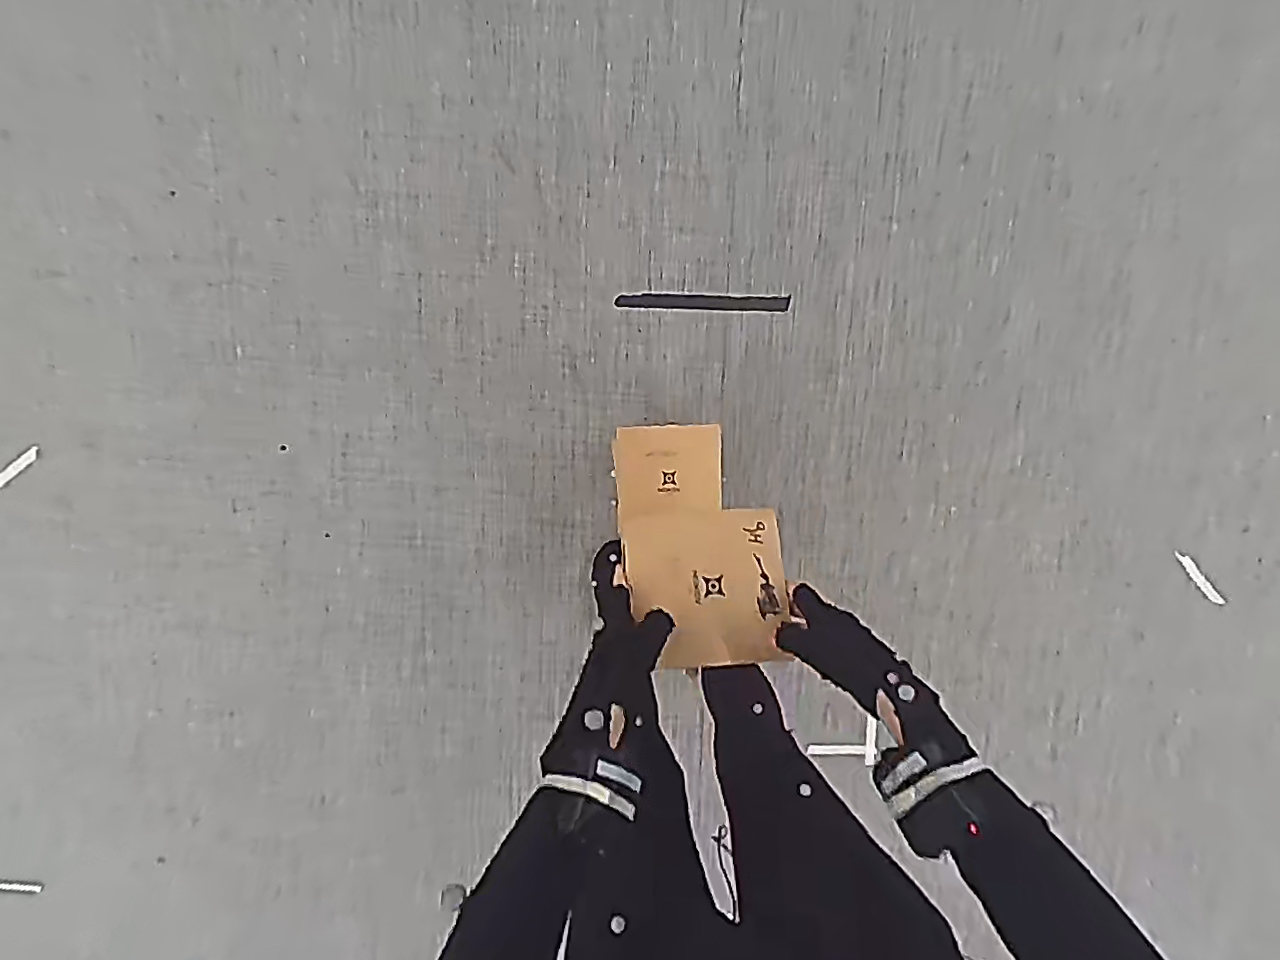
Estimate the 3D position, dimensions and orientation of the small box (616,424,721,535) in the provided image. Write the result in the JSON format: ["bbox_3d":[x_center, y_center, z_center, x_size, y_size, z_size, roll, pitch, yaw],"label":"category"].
[{"bbox_3d":[0.046,-0.005,0.924,0.168,0.176,0.179,-2,95,0],"label":"small box"}]

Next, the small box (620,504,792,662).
[{"bbox_3d":[0.069,0.132,0.657,0.179,0.176,0.168,-3,73,-1],"label":"small box"}]
